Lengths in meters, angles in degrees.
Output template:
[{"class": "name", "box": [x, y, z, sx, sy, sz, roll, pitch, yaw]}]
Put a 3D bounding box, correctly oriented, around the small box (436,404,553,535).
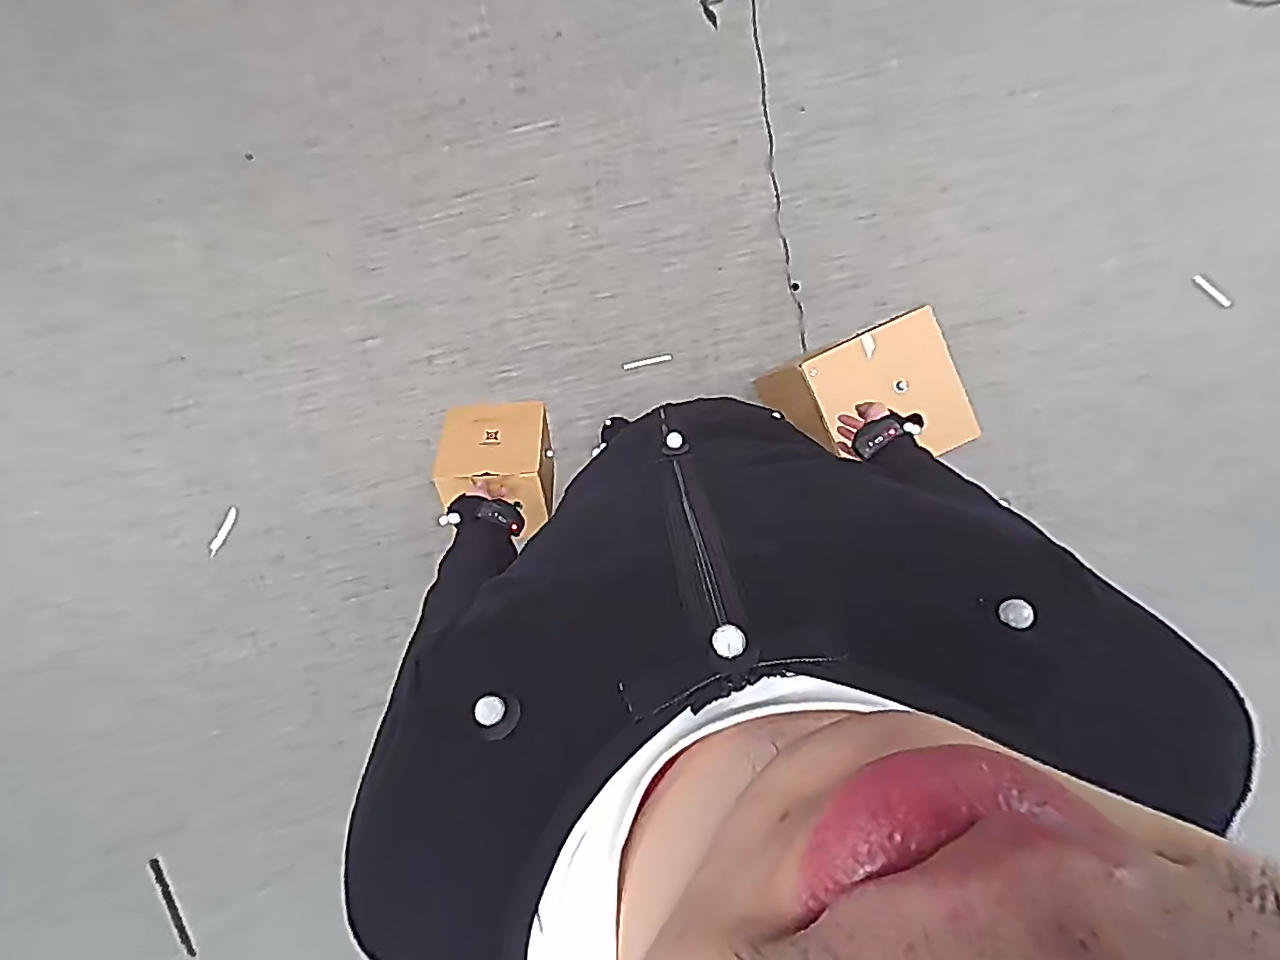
[{"class": "small box", "box": [-0.247, -0.014, 0.967, 0.168, 0.179, 0.176, -3, 137, -4]}]
